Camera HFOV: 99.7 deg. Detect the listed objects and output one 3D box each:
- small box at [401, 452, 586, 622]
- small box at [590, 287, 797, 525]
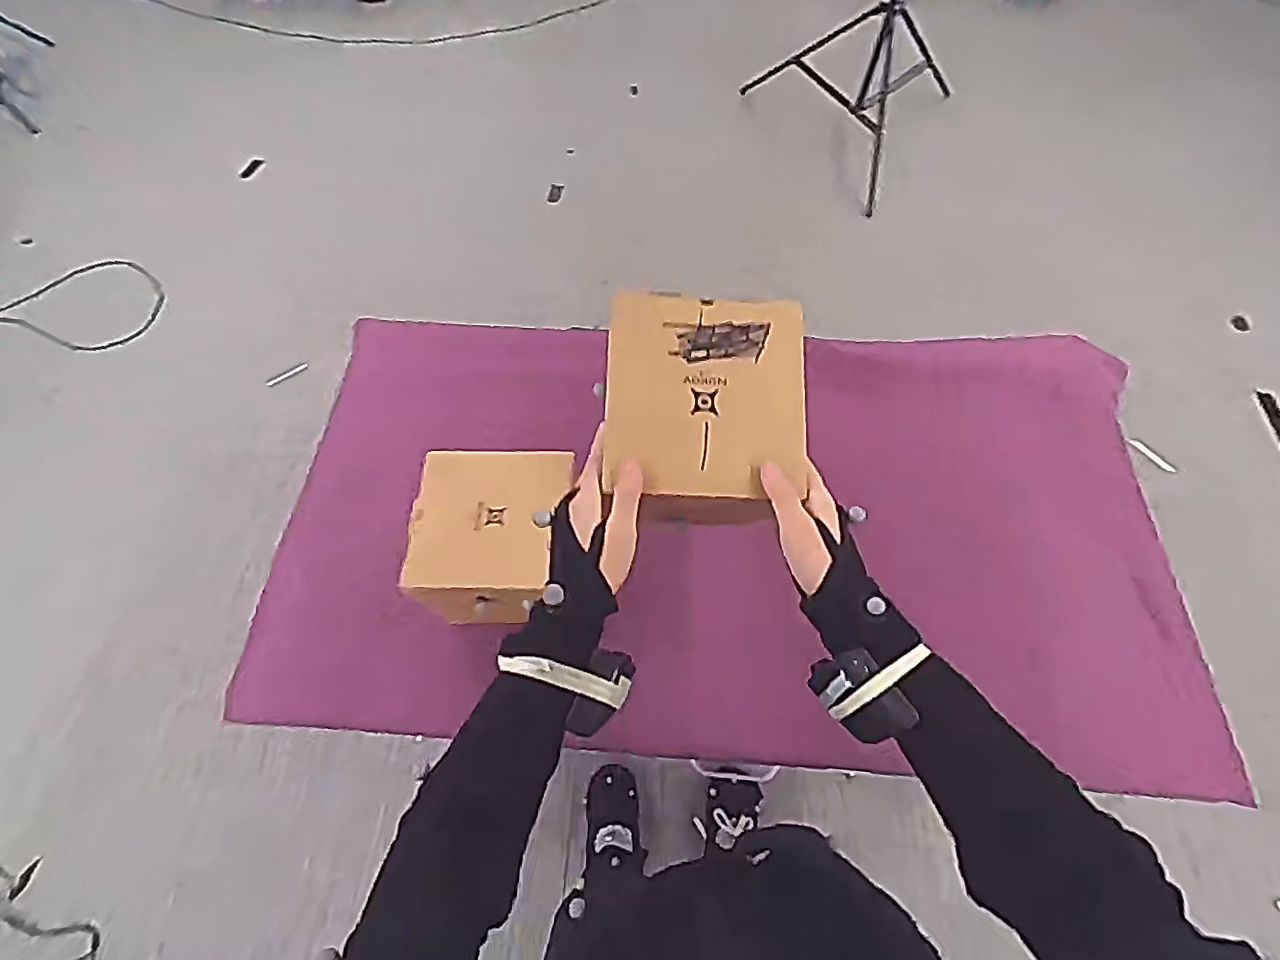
[{"bbox_3d":[-0.164,0.077,0.674,0.179,0.176,0.168,0,64,1],"label":"small box"},{"bbox_3d":[0.040,-0.056,0.515,0.168,0.176,0.179,2,79,-2],"label":"small box"}]
